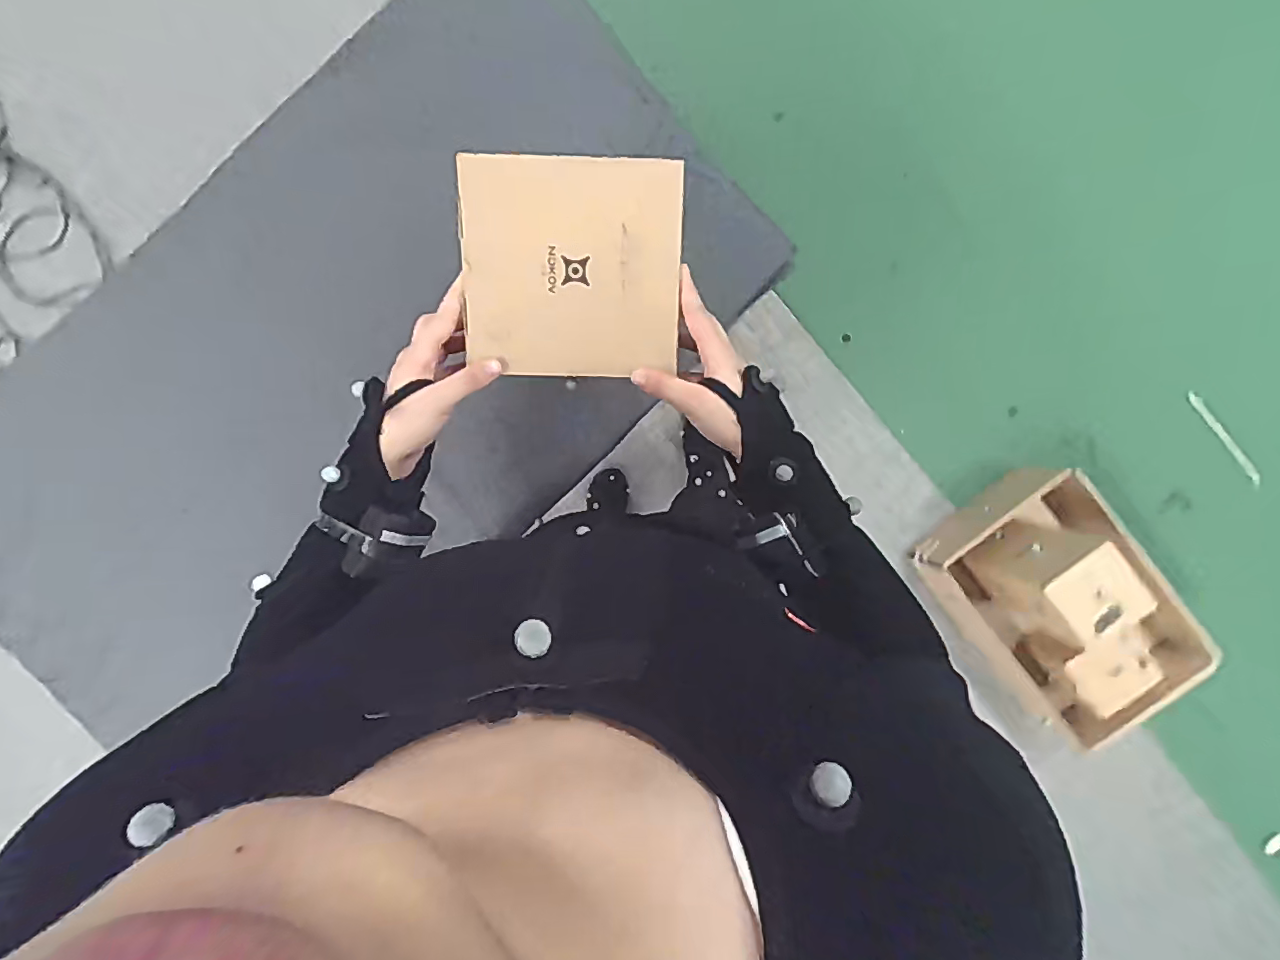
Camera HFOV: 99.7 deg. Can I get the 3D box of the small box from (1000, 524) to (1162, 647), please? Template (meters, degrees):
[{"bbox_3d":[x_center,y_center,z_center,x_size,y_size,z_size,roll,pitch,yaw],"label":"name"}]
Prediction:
[{"bbox_3d":[0.942,0.218,1.172,0.168,0.176,0.179,-39,93,4],"label":"small box"}]

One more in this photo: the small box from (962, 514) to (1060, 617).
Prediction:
[{"bbox_3d":[0.948,0.199,1.335,0.168,0.176,0.179,-40,95,5],"label":"small box"}]

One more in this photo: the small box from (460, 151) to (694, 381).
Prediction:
[{"bbox_3d":[-0.049,-0.179,0.493,0.179,0.176,0.168,1,104,-1],"label":"small box"}]
